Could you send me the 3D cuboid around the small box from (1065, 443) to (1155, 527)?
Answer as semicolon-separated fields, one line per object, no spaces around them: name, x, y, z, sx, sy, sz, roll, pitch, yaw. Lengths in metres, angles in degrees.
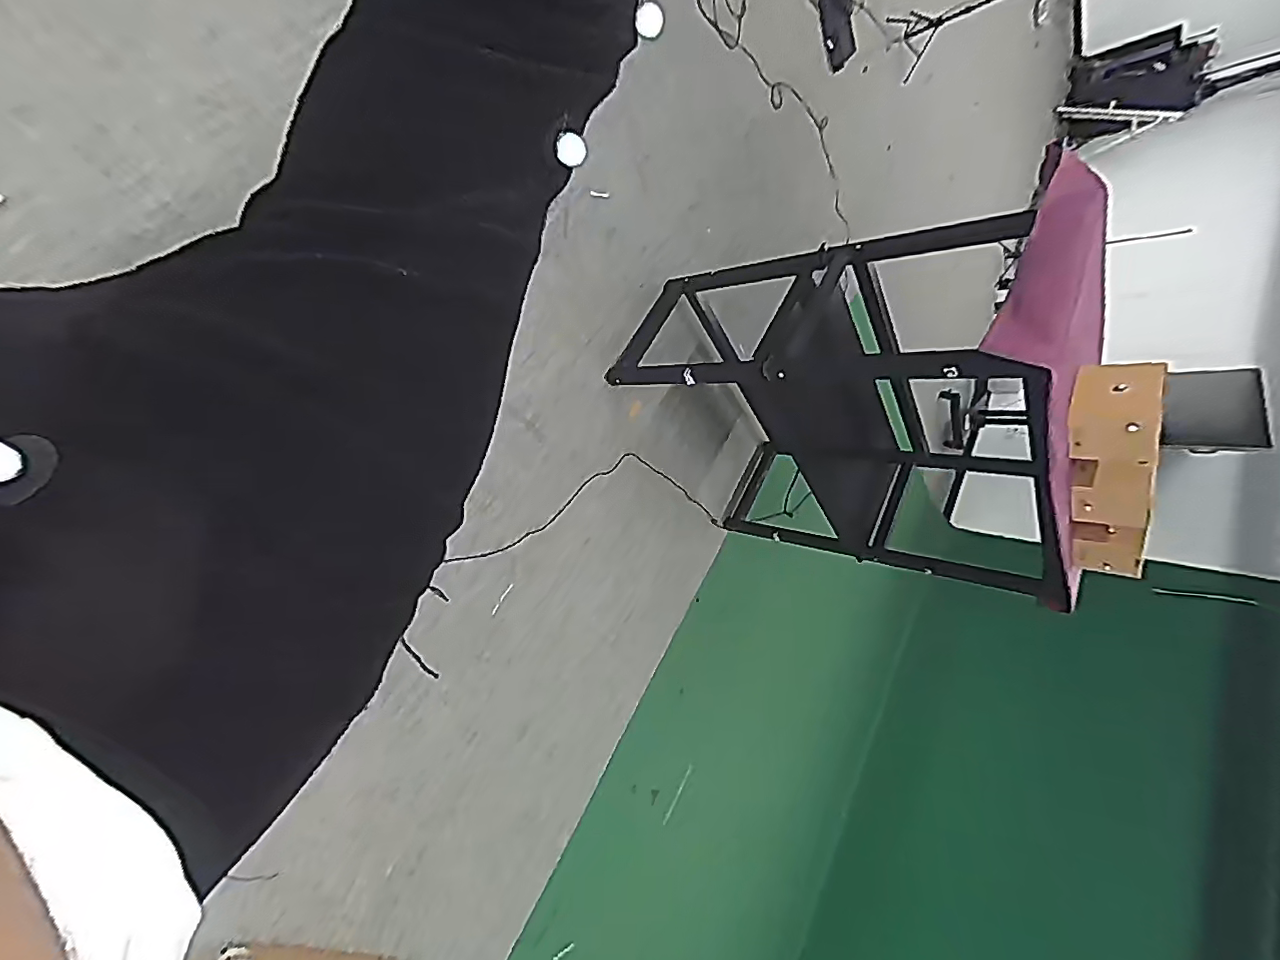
small box;1.315;0.006;1.517;0.179;0.176;0.168;49;61;-39

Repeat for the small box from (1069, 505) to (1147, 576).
small box;1.459;0.170;1.691;0.179;0.176;0.168;-56;131;-24
